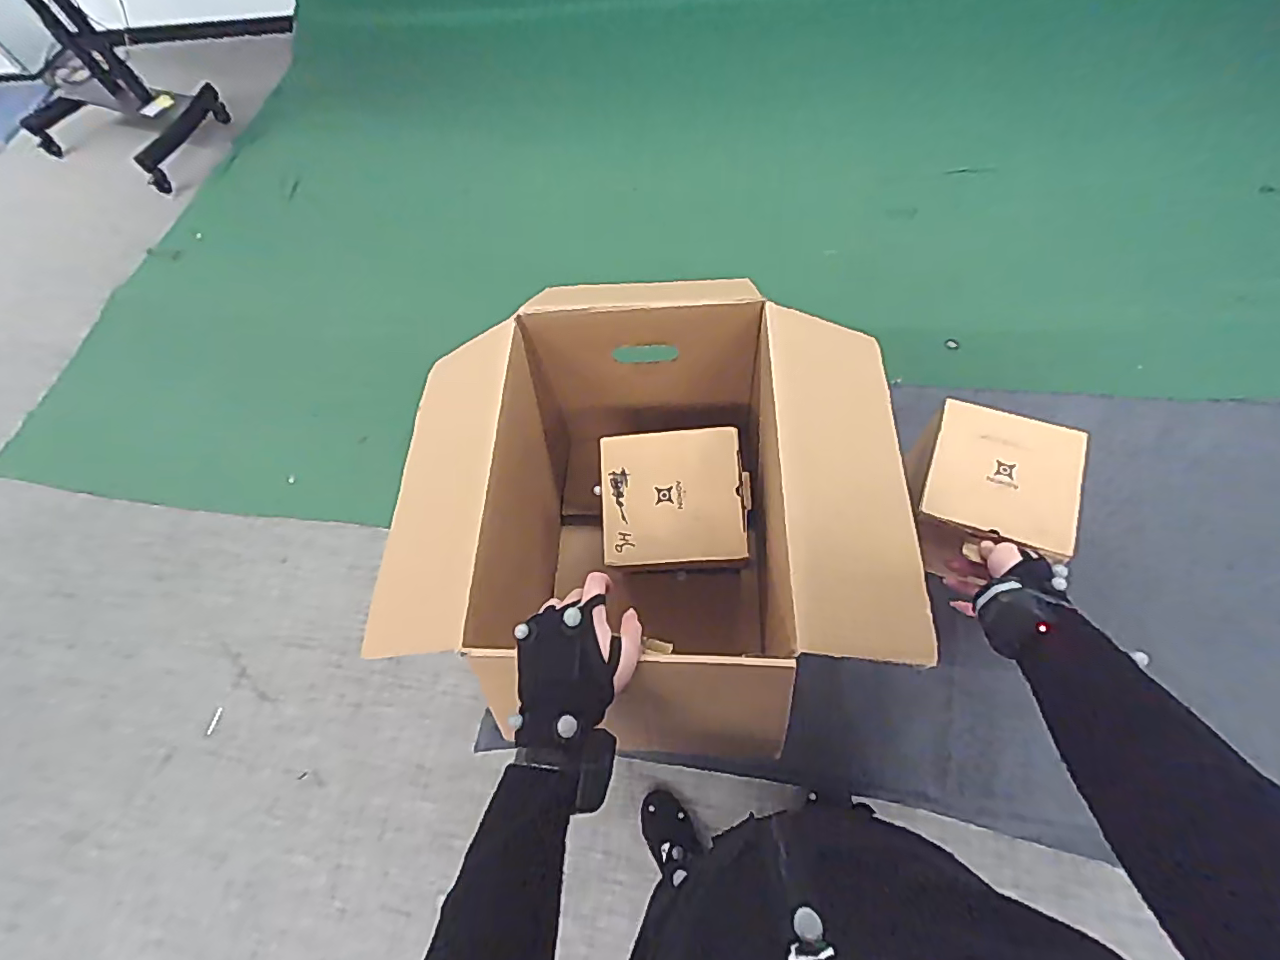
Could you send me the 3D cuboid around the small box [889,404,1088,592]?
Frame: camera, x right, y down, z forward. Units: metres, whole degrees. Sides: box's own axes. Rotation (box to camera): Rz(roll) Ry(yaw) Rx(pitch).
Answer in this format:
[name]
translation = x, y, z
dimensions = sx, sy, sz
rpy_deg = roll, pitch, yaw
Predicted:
[small box]
translation = 0.457, 0.031, 0.733
dimensions = 0.168, 0.176, 0.179
rpy_deg = 19, 67, 14
